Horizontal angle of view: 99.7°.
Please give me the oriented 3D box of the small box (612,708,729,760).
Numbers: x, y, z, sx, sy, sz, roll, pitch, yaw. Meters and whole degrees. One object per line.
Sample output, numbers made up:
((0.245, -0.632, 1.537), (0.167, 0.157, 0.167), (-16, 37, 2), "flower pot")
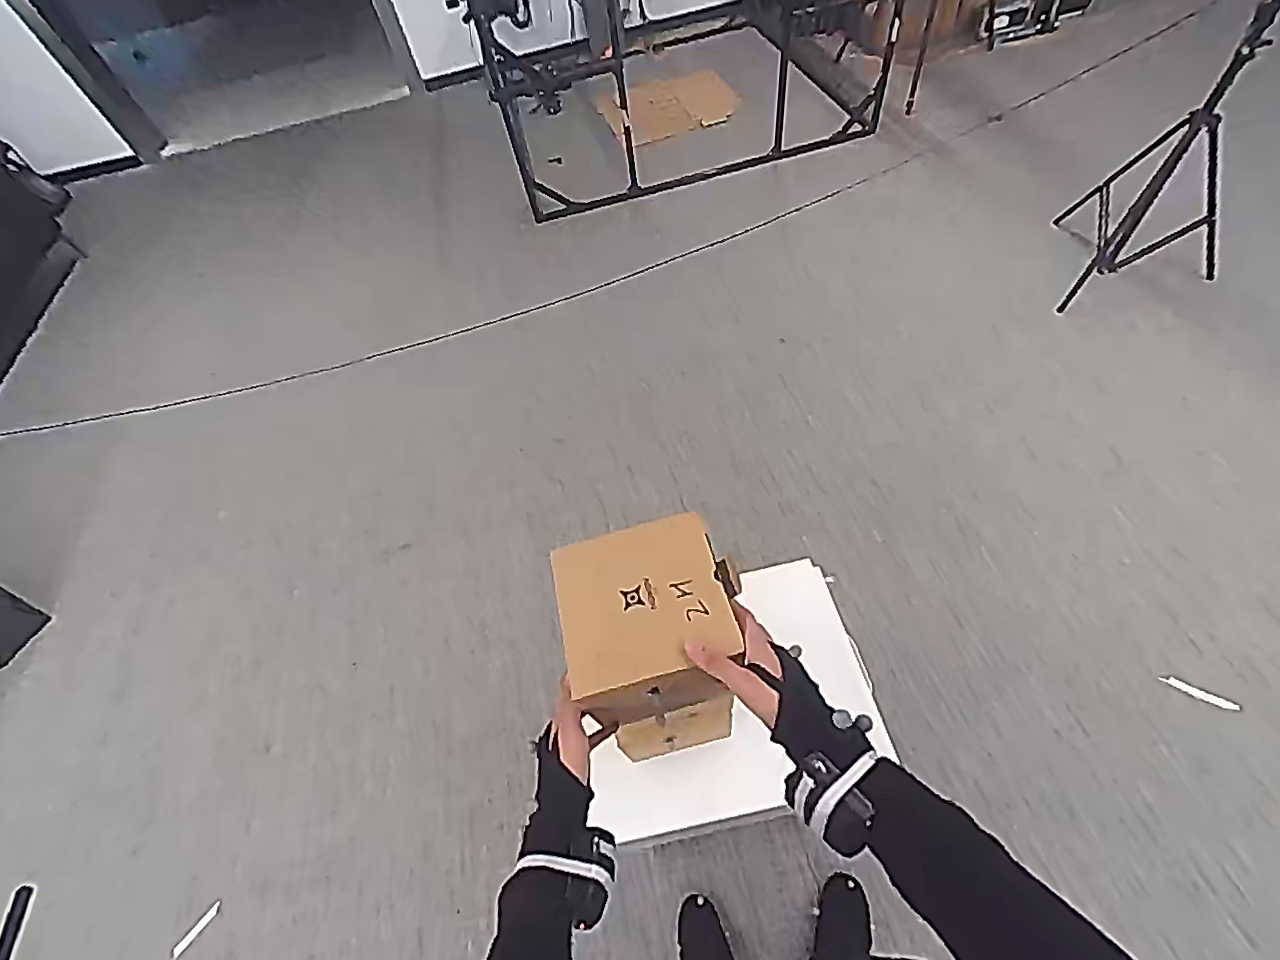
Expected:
((0.042, 0.349, 0.899), (0.179, 0.176, 0.168), (-15, 55, -2), "small box")

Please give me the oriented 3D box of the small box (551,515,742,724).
((0.011, 0.168, 0.628), (0.179, 0.176, 0.168), (-15, 56, -2), "small box")

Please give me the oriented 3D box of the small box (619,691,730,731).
((0.030, 0.245, 0.774), (0.168, 0.176, 0.179), (-14, 54, -1), "small box")
